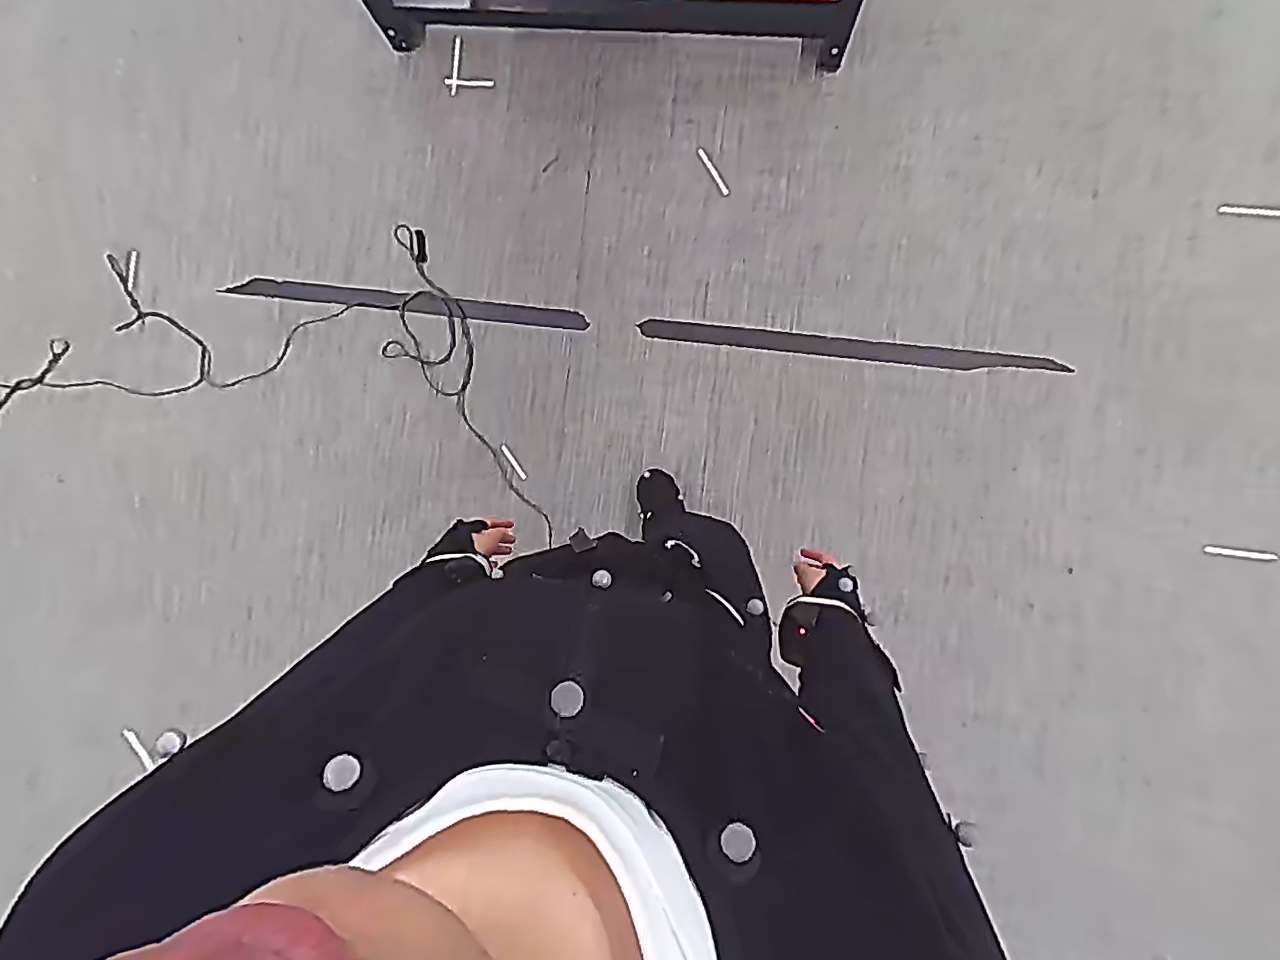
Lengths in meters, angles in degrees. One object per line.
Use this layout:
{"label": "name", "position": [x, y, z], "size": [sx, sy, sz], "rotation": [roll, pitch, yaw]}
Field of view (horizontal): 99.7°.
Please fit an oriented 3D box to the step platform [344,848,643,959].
{"label": "step platform", "position": [-0.341, 1.128, 1.288], "size": [0.684, 0.204, 0.286], "rotation": [6, 90, 4]}
